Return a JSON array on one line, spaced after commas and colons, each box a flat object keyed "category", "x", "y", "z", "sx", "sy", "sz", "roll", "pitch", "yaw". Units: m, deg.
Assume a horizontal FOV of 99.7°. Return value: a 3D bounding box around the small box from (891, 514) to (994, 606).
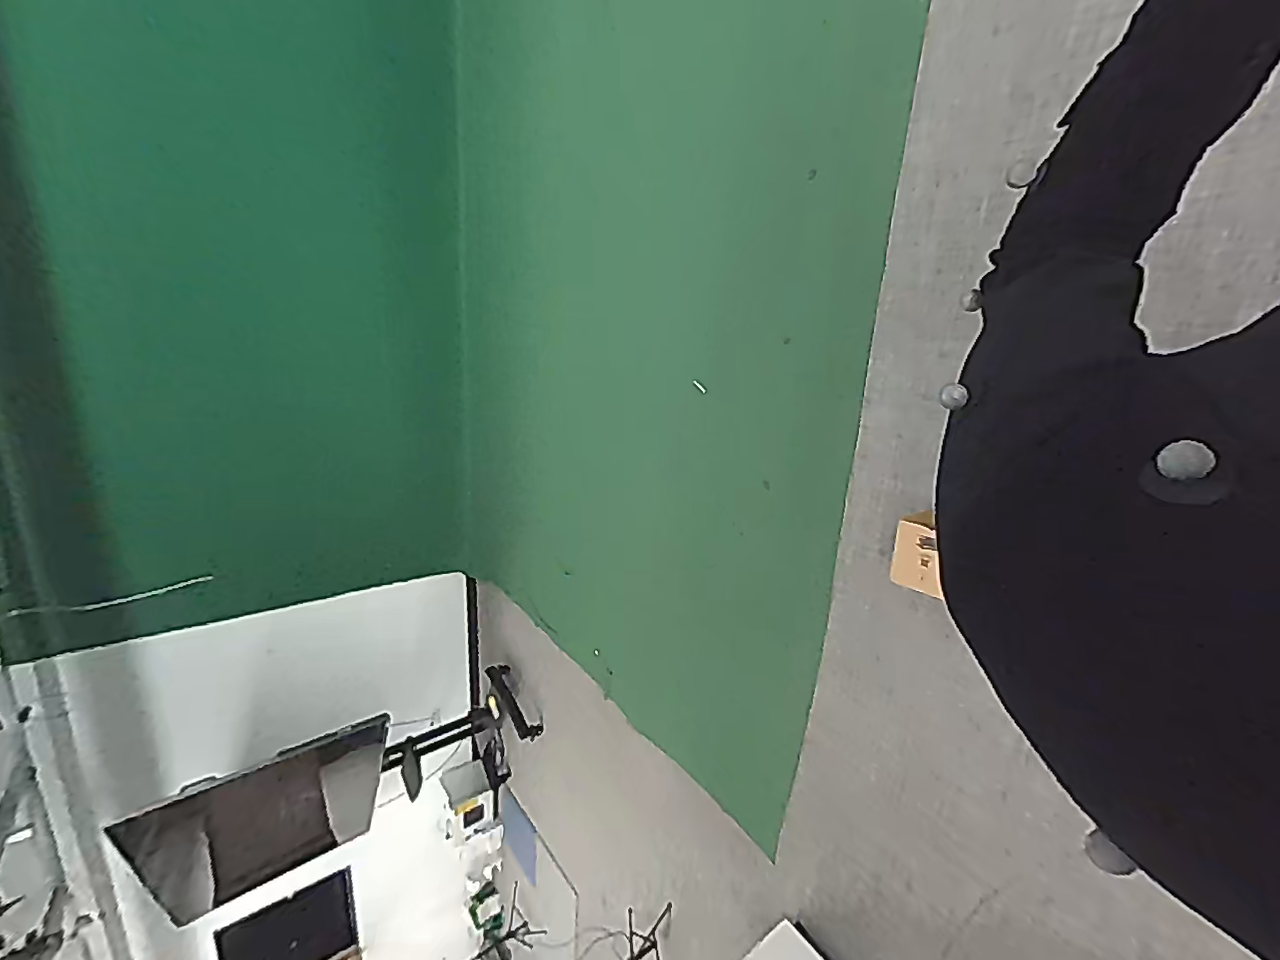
[{"category": "small box", "x": 0.777, "y": 0.194, "z": 1.386, "sx": 0.168, "sy": 0.176, "sz": 0.179, "roll": 20, "pitch": 112, "yaw": 50}]
